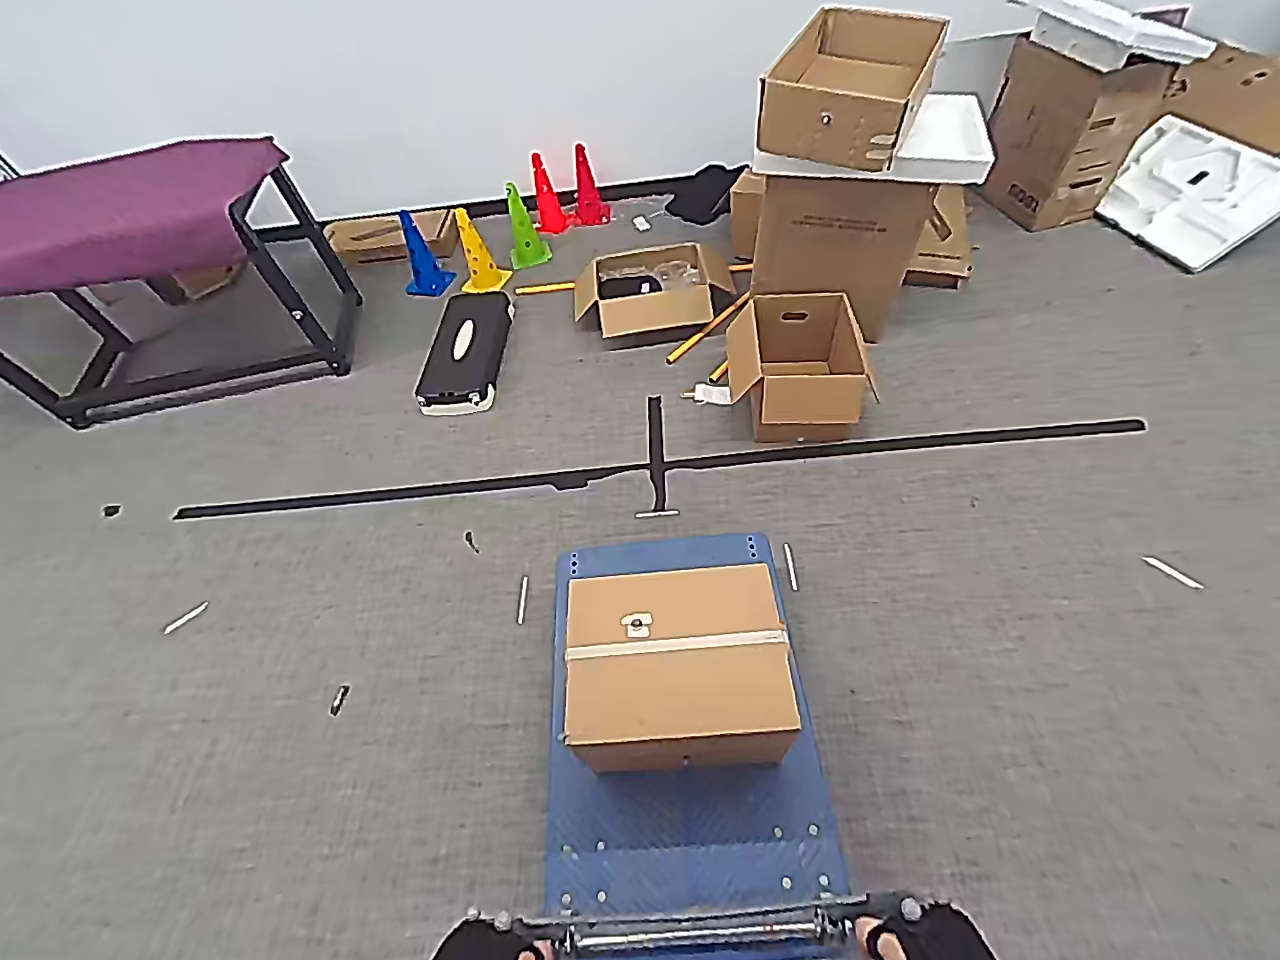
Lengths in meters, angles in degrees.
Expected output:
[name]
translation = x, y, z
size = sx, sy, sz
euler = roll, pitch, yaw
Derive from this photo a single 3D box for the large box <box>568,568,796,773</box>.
[large box]
translation = 0.081, 0.412, 1.142
size = 0.408, 0.320, 0.320
euler = -6, 52, 3
